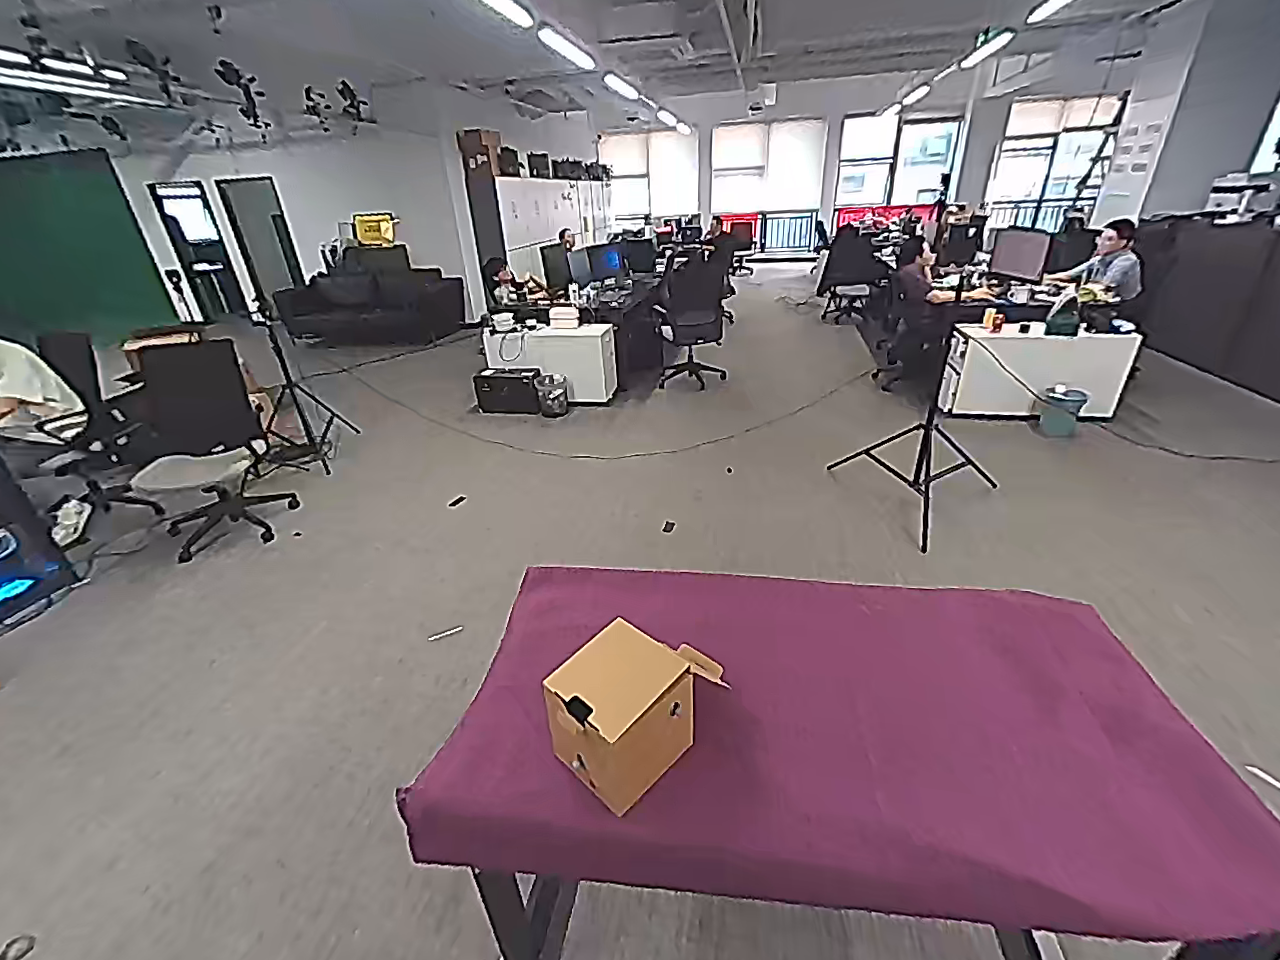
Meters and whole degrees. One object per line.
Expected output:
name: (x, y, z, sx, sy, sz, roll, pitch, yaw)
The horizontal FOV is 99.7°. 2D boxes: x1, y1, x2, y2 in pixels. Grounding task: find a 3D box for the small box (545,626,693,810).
small box: (-0.031, 0.382, 0.884, 0.168, 0.176, 0.179, 21, 36, 40)
